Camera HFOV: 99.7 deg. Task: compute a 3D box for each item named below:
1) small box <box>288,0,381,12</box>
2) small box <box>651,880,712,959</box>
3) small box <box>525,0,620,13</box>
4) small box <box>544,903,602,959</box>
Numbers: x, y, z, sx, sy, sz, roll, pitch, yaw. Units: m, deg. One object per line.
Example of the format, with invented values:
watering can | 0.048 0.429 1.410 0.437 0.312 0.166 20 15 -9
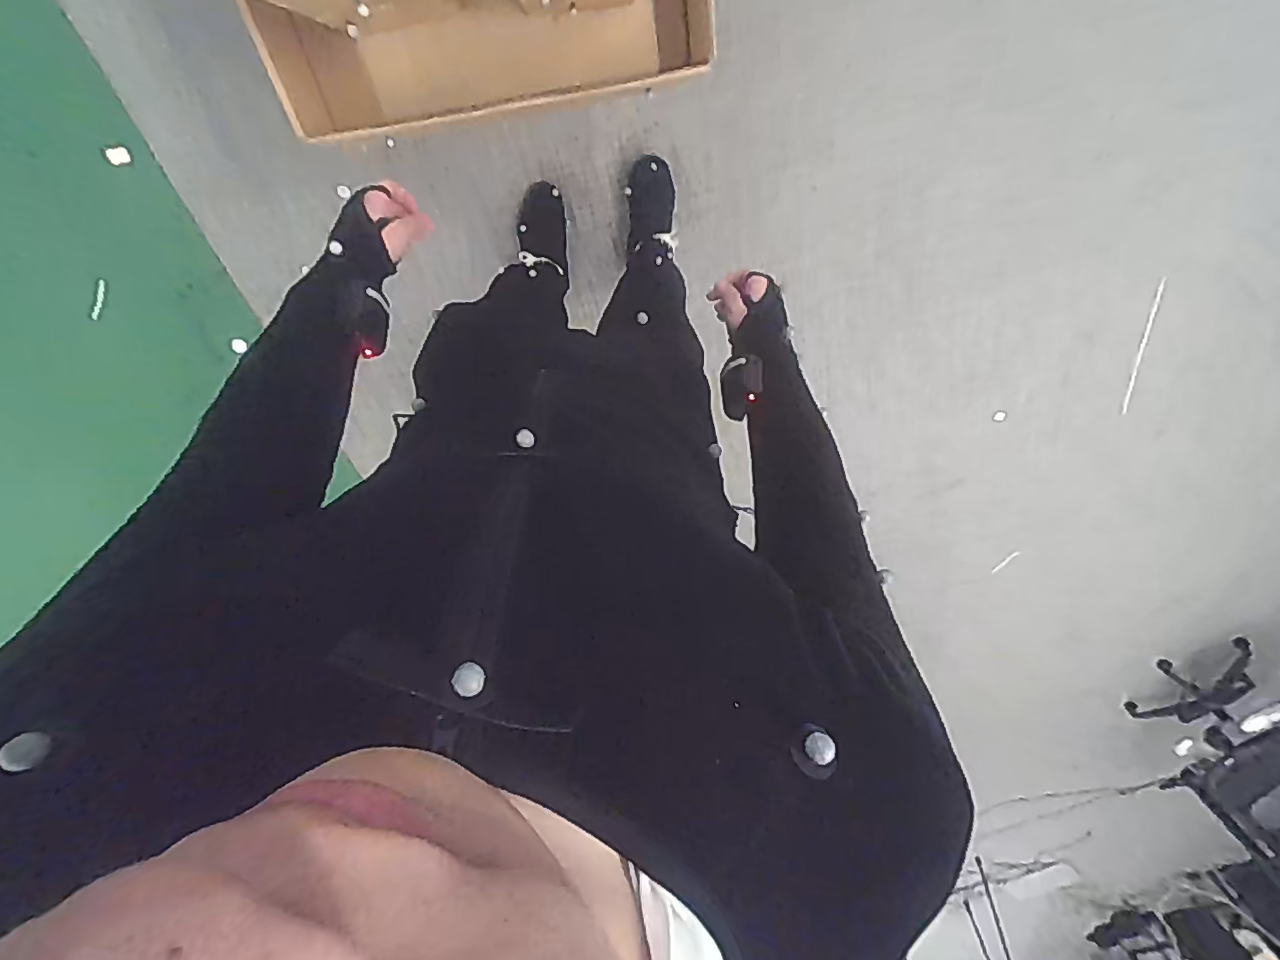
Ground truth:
small box | -0.343 -0.617 0.553 0.168 0.176 0.179 -10 125 1
small box | 0.144 1.541 1.894 0.168 0.176 0.179 -16 123 4
small box | -0.094 -0.741 0.700 0.168 0.176 0.179 -9 125 0
small box | -0.232 1.640 1.917 0.168 0.176 0.179 -14 125 2
